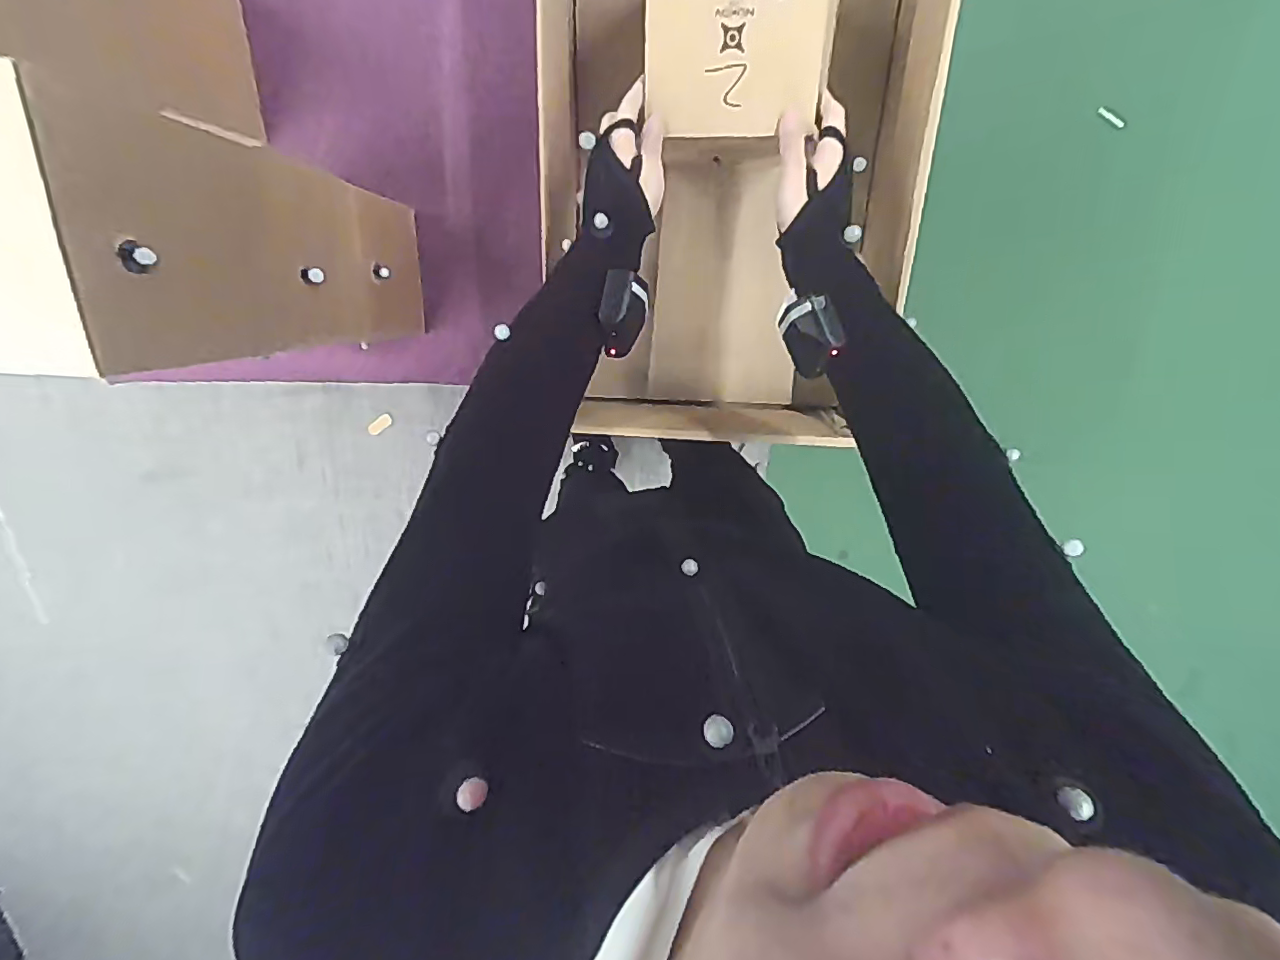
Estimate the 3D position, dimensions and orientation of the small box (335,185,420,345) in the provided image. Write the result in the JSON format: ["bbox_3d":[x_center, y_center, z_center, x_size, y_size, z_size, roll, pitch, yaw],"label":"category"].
[{"bbox_3d":[-0.405,-0.276,0.708,0.168,0.176,0.179,3,107,2],"label":"small box"}]

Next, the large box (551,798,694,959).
[{"bbox_3d":[-0.054,1.456,1.969,0.408,0.320,0.320,-29,105,11],"label":"large box"}]

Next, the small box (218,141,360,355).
[{"bbox_3d":[-0.413,-0.228,0.552,0.168,0.176,0.179,2,109,2],"label":"small box"}]

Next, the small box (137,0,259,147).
[{"bbox_3d":[-0.597,-0.511,0.642,0.168,0.176,0.179,1,108,3],"label":"small box"}]

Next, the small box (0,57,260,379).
[{"bbox_3d":[-0.418,-0.177,0.395,0.168,0.176,0.179,4,108,1],"label":"small box"}]
